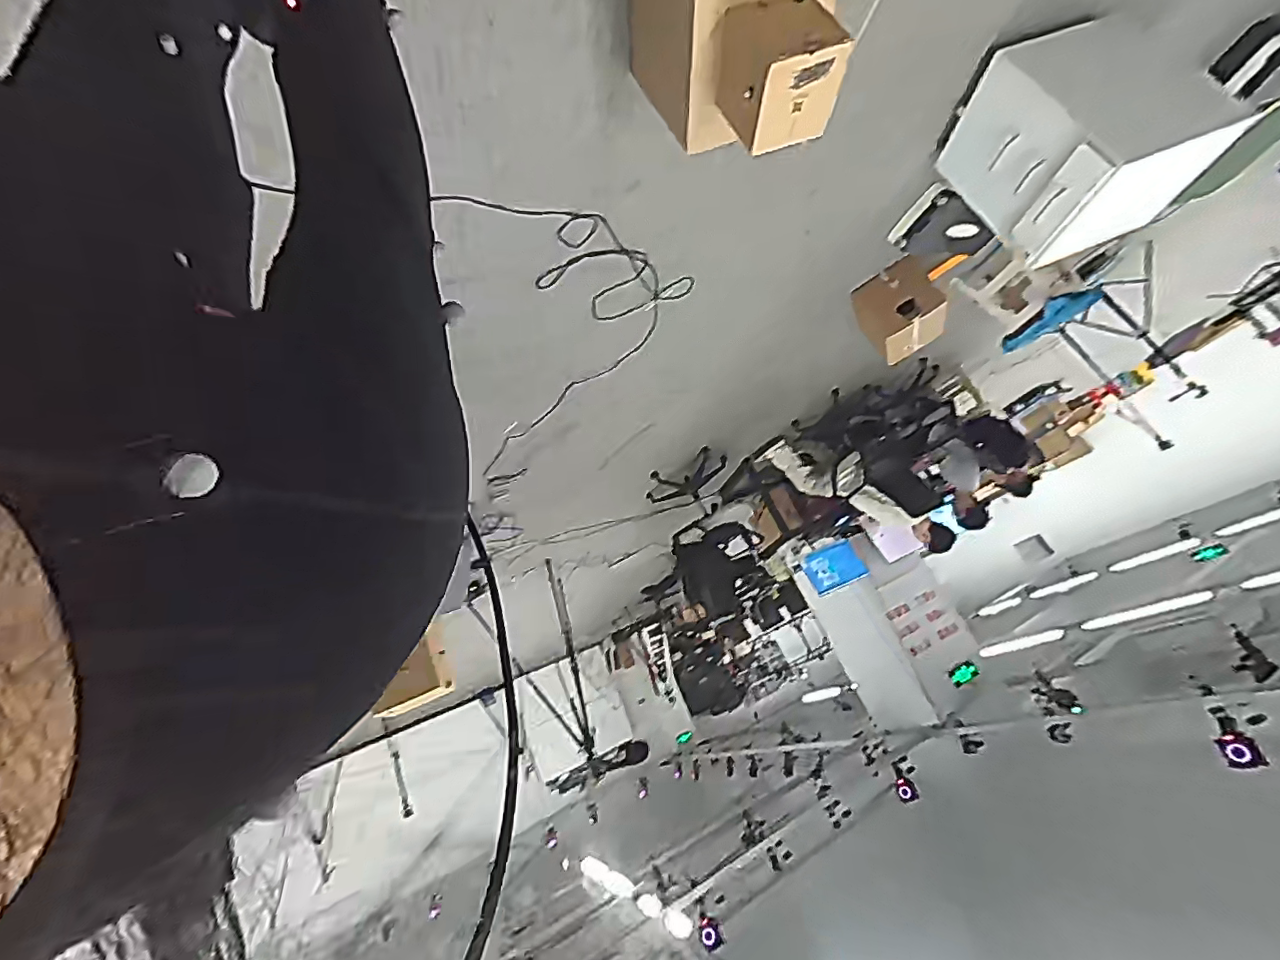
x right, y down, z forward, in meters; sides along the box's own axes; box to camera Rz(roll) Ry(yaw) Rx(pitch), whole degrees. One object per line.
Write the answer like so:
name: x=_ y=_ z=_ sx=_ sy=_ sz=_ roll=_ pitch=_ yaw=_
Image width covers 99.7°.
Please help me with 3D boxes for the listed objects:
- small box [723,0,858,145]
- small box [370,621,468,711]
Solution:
small box: x=0.272 y=-0.789 z=1.023 sx=0.168 sy=0.176 sz=0.179 roll=-21 pitch=159 yaw=-8
small box: x=-0.580 y=0.488 z=1.427 sx=0.179 sy=0.176 sz=0.168 roll=-23 pitch=160 yaw=-12
